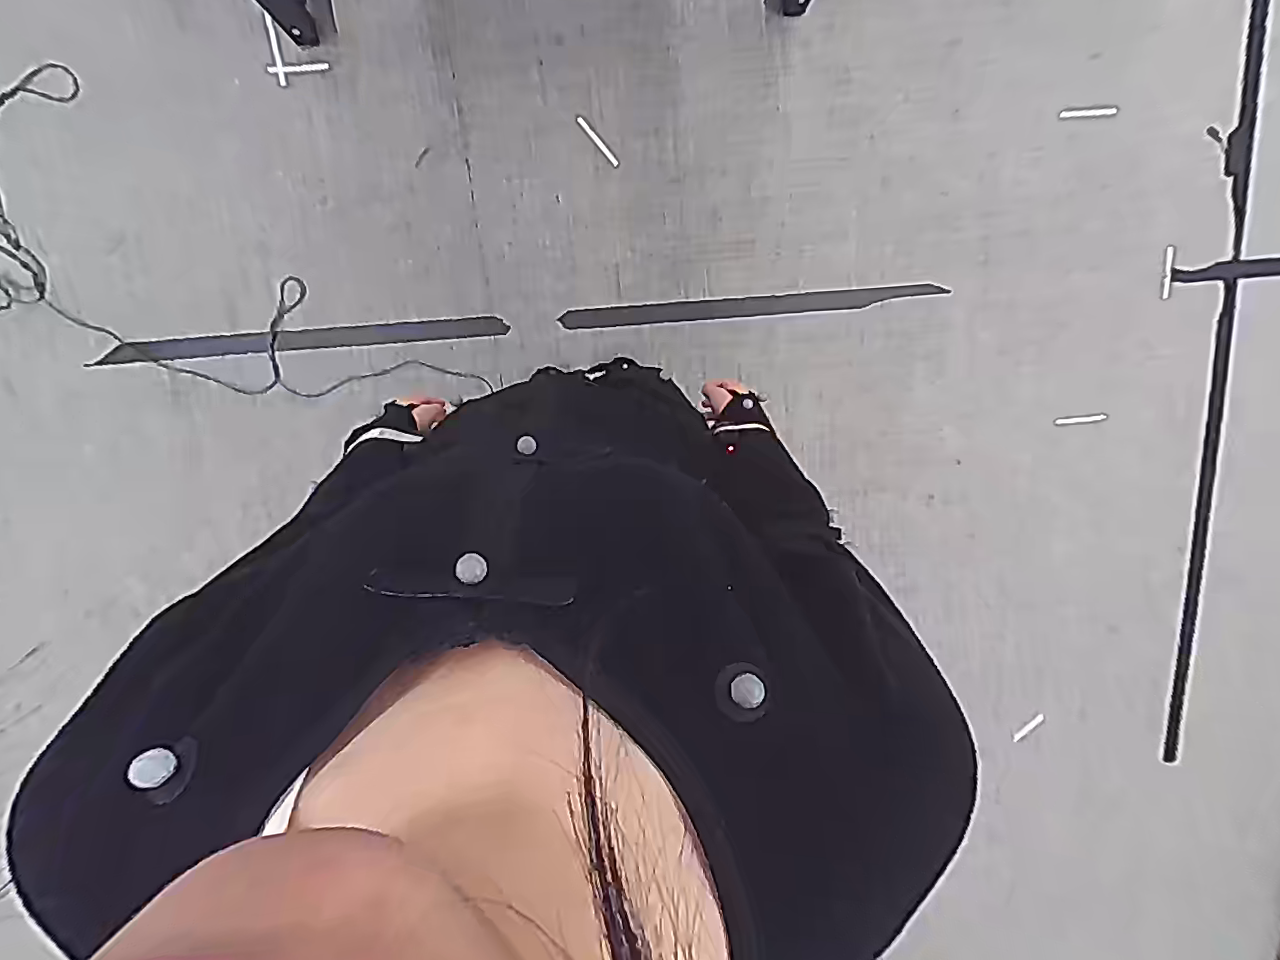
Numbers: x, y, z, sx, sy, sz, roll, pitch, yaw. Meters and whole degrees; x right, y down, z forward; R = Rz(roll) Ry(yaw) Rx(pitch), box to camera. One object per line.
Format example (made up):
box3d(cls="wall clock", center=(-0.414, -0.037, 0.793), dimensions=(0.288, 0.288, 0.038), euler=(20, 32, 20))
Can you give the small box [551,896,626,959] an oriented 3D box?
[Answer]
box3d(cls="small box", center=(-0.126, 1.190, 1.357), dimensions=(0.179, 0.176, 0.168), euler=(-6, 101, -2))
